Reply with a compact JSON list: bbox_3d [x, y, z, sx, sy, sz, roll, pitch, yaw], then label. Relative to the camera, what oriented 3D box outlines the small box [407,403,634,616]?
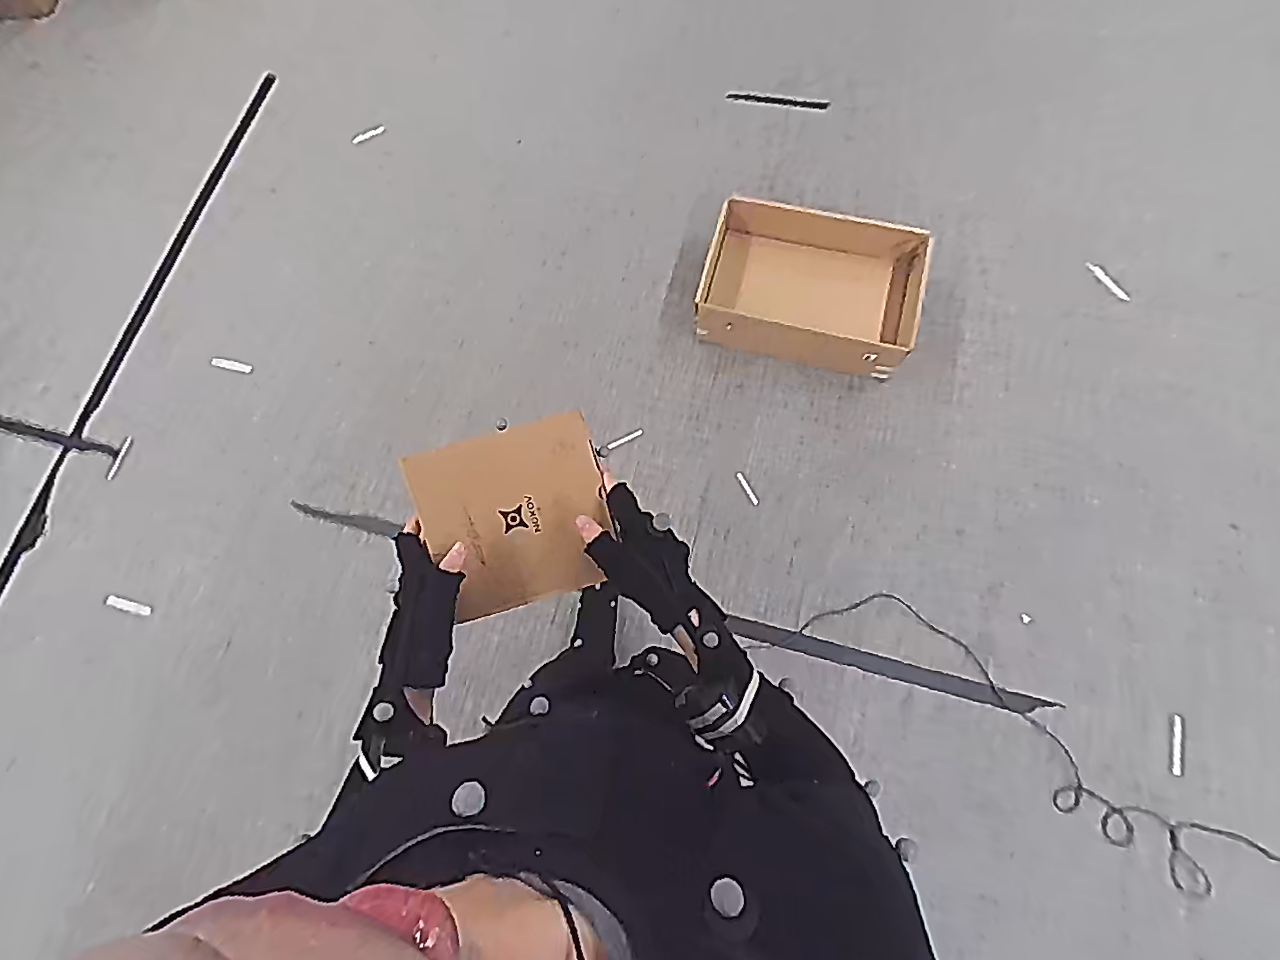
[{"bbox_3d":[-0.116,0.023,0.584,0.179,0.176,0.168,-17,93,-3],"label":"small box"}]
